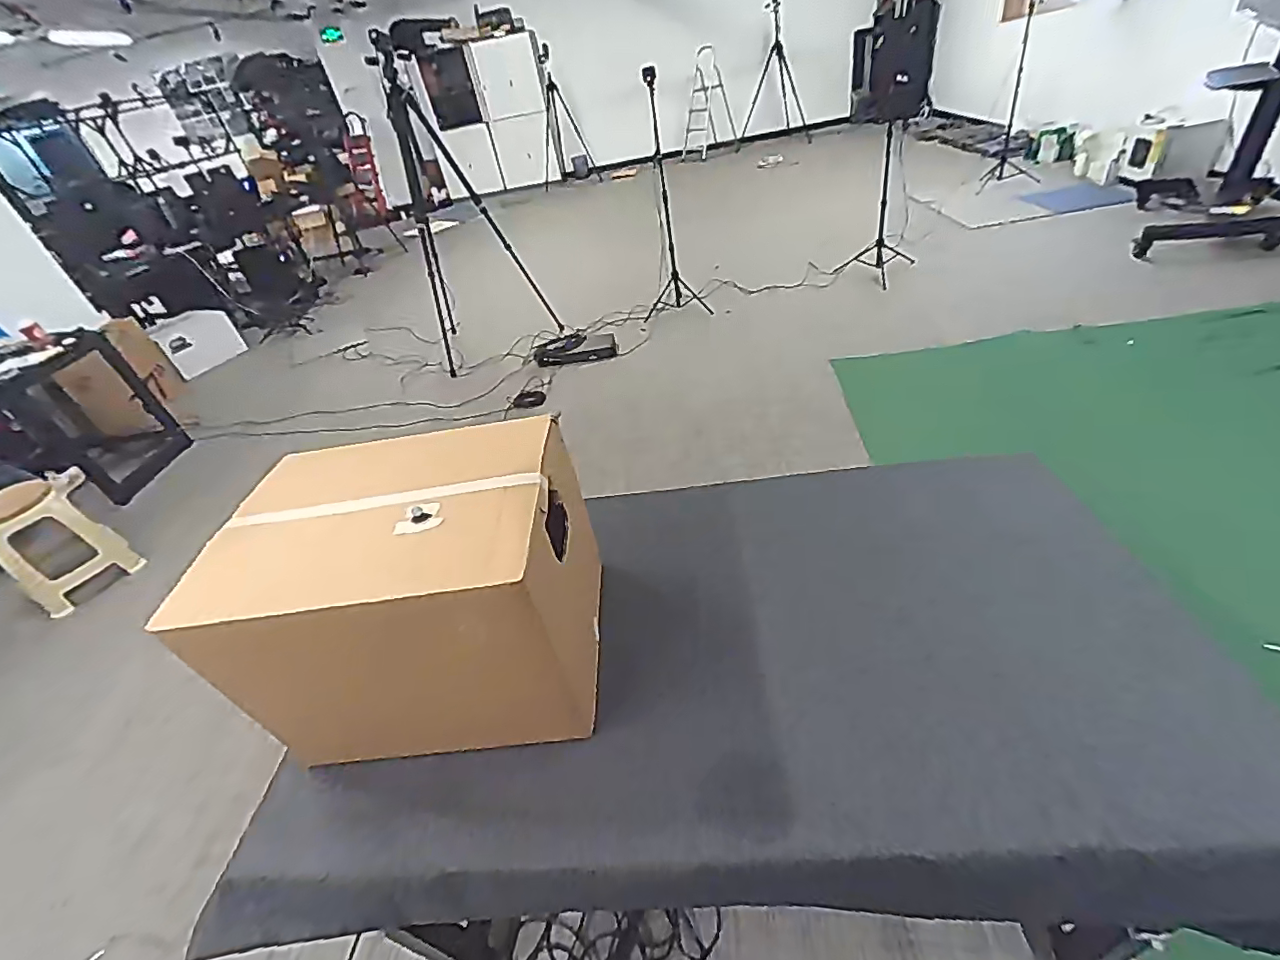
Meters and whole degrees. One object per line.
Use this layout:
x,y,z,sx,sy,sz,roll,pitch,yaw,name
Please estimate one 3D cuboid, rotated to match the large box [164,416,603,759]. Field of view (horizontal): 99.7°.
-0.278,0.145,0.747,0.408,0.320,0.320,-8,38,4,large box
